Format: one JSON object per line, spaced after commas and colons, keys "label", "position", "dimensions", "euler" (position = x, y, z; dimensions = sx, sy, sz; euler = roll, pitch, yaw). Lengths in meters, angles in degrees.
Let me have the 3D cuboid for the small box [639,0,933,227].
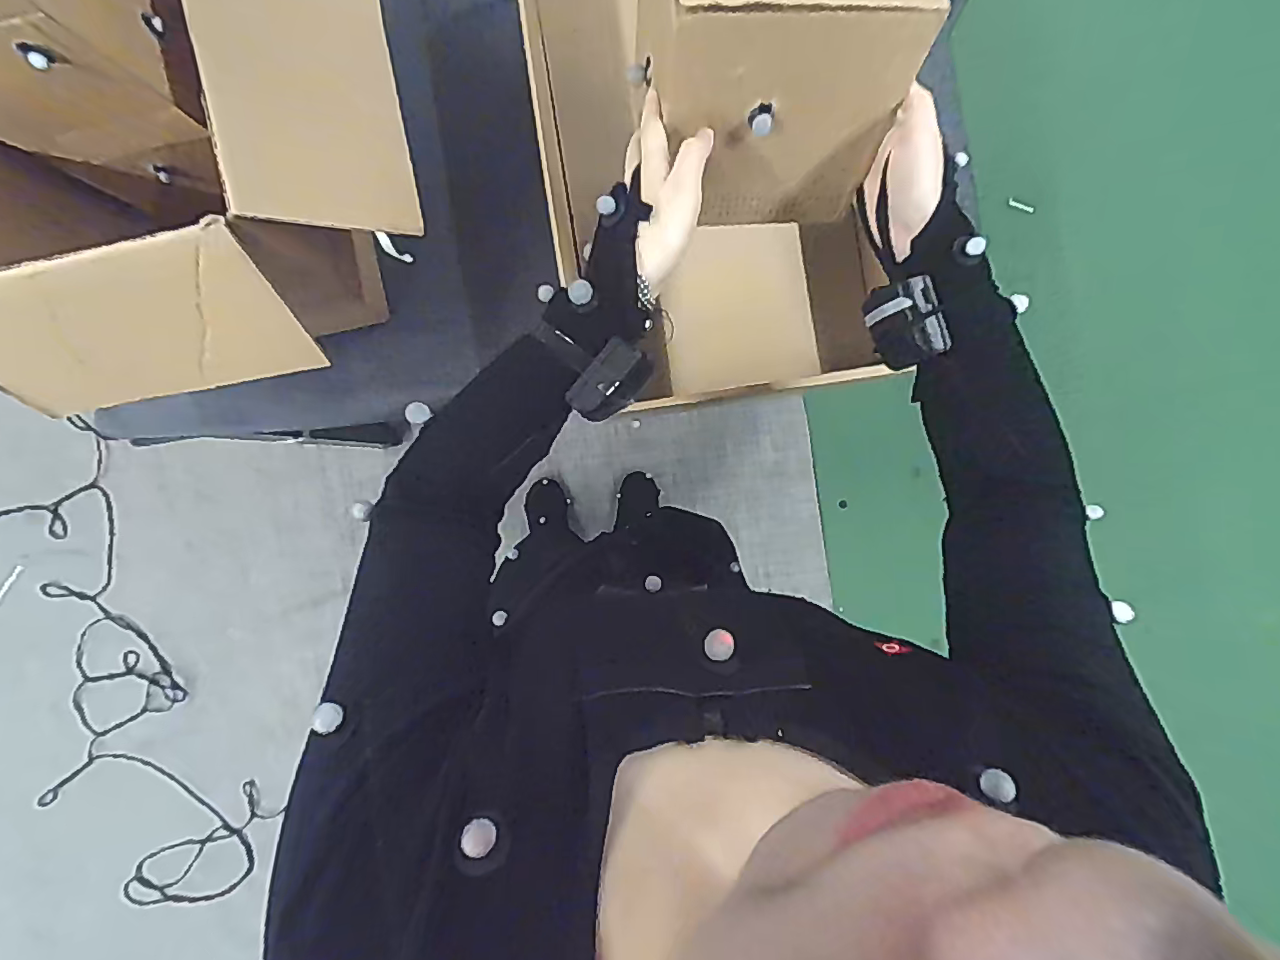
{"label": "small box", "position": [0.092, -0.331, 0.441], "dimensions": [0.179, 0.176, 0.168], "euler": [-5, 70, -5]}
